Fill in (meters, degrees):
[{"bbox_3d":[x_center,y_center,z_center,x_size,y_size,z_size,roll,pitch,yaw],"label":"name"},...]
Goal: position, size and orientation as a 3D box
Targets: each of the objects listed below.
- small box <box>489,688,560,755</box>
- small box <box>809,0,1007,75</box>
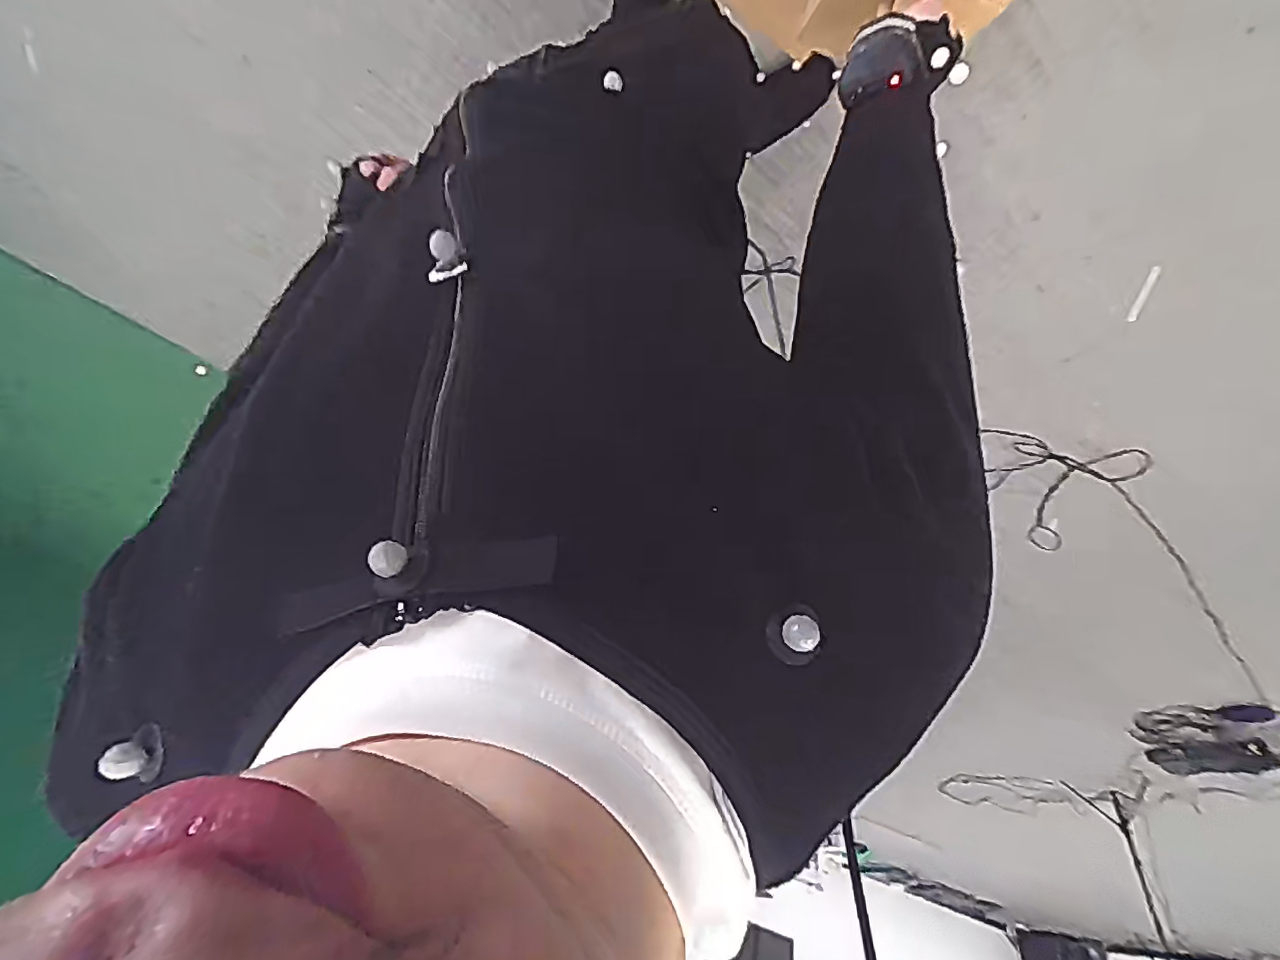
[{"bbox_3d":[-0.410,0.870,1.952,0.168,0.176,0.179,36,135,-20],"label":"small box"},{"bbox_3d":[0.300,-0.580,0.574,0.168,0.176,0.179,16,104,-7],"label":"small box"}]
